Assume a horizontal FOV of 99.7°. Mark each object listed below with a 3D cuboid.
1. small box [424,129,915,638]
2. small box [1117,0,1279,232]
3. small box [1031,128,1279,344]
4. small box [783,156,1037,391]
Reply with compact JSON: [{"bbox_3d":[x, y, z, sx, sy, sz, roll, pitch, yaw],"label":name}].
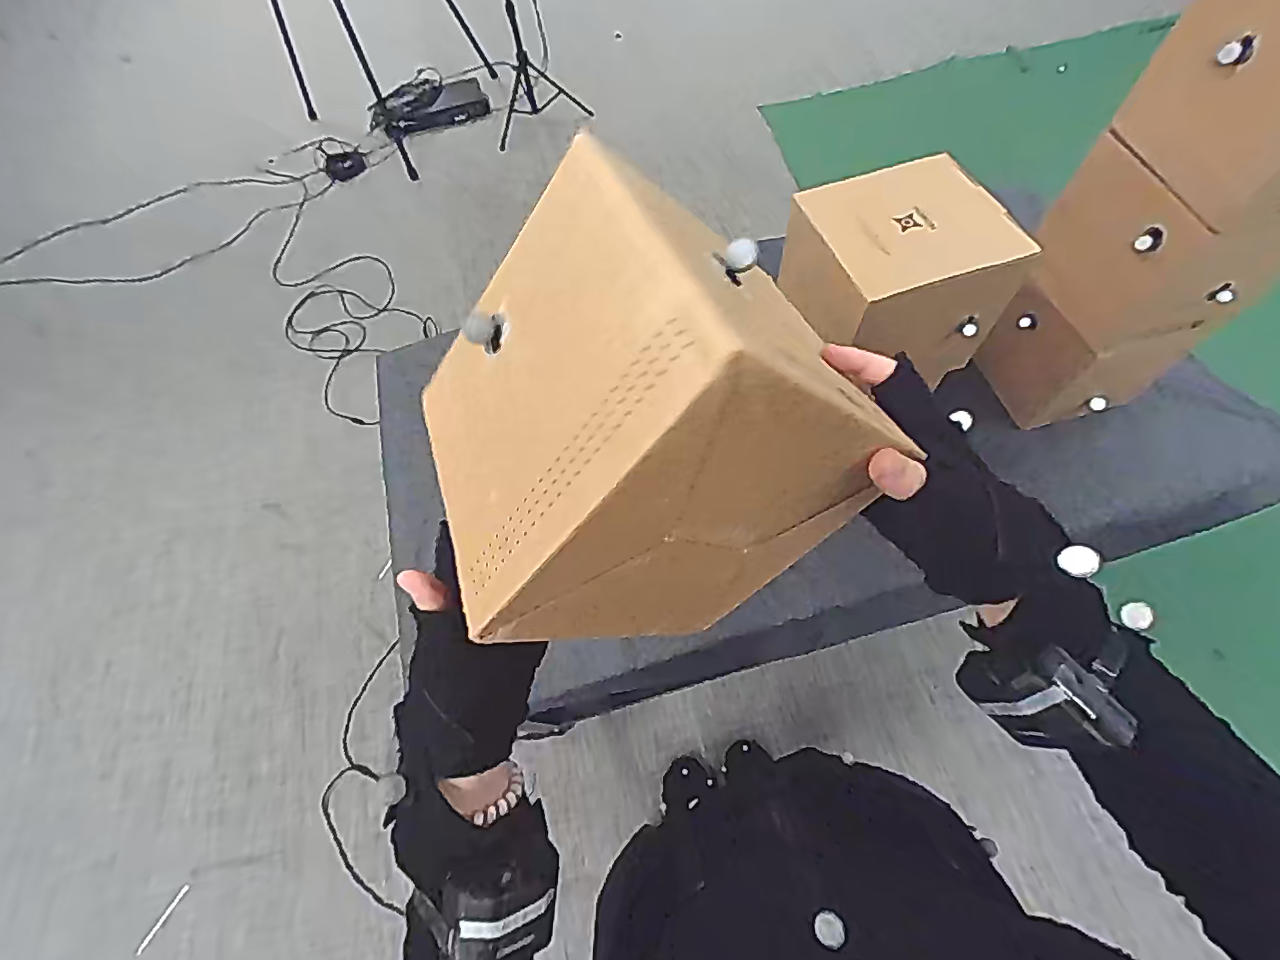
[{"bbox_3d":[0.010,-0.034,0.298,0.179,0.168,0.176,-46,53,25],"label":"small box"},{"bbox_3d":[0.572,-0.345,0.454,0.168,0.176,0.179,-11,62,0],"label":"small box"},{"bbox_3d":[0.587,-0.273,0.601,0.168,0.176,0.179,-13,63,-1],"label":"small box"},{"bbox_3d":[0.272,-0.214,0.602,0.179,0.176,0.168,-17,62,-3],"label":"small box"}]
